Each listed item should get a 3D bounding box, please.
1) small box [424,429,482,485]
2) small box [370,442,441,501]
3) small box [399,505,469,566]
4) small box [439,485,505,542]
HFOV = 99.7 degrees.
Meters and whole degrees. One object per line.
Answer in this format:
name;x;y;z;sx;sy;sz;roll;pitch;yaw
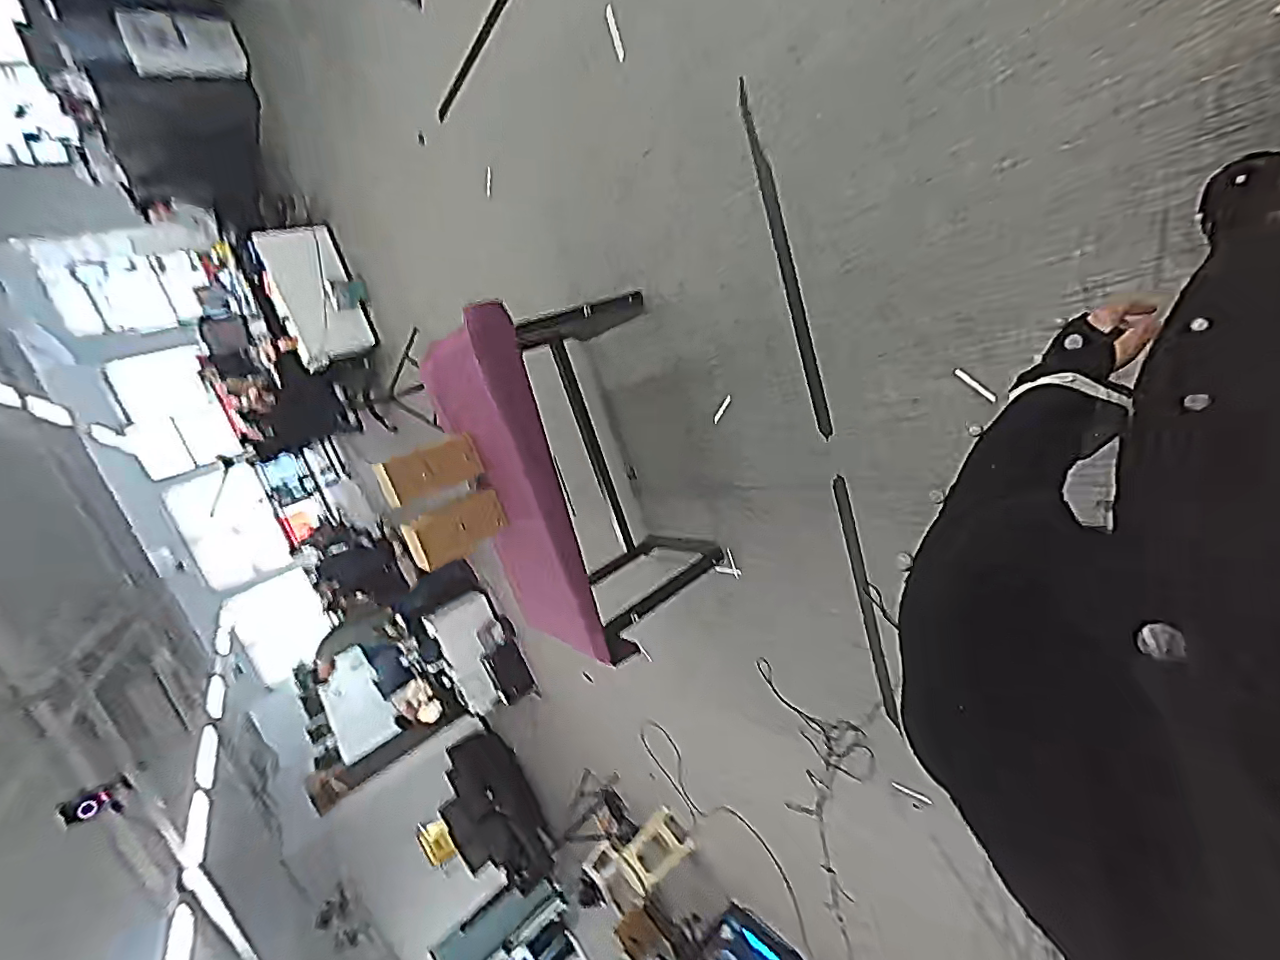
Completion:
small box;-0.731;-0.087;2.066;0.179;0.176;0.168;0;113;52
small box;-0.855;-0.030;1.978;0.179;0.176;0.168;-5;110;53
small box;-0.767;0.201;2.019;0.179;0.176;0.168;2;114;51
small box;-0.648;0.126;2.103;0.179;0.176;0.168;0;112;53
